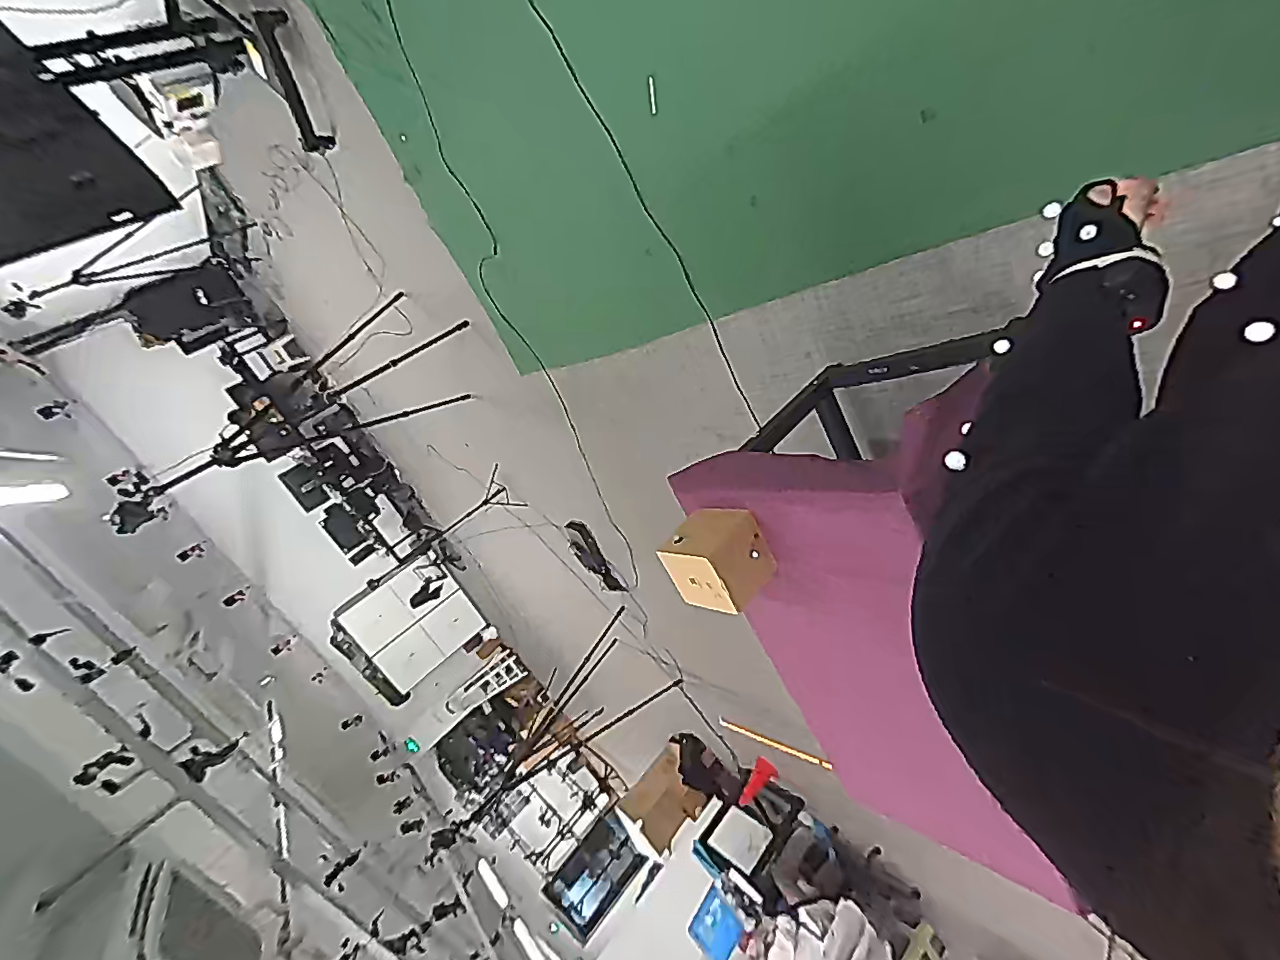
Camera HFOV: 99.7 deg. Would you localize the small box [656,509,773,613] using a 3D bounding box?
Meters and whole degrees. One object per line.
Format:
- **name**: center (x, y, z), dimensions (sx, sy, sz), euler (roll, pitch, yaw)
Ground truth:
- **small box**: center (0.176, 0.179, 1.258), dimensions (0.179, 0.176, 0.168), euler (-2, 124, 52)
